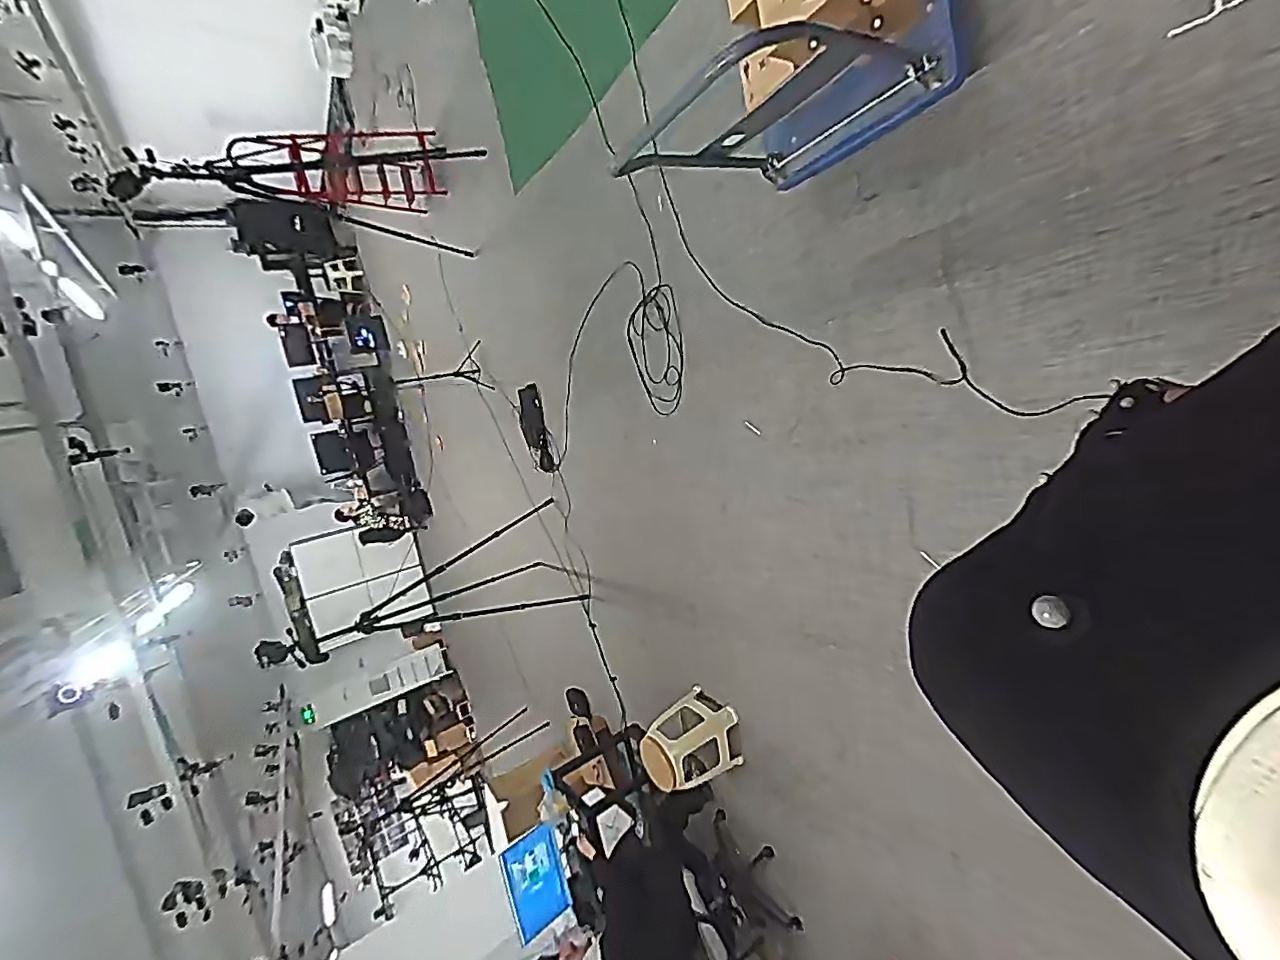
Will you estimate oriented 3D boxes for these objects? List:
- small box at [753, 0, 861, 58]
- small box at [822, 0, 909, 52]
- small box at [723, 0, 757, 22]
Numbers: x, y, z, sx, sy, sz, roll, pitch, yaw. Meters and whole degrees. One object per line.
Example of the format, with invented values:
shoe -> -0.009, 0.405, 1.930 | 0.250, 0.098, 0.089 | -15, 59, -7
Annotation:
small box -> 0.379, -1.107, 1.225 | 0.179, 0.176, 0.168 | -1, 103, 56
small box -> 0.530, -1.150, 1.301 | 0.168, 0.176, 0.179 | 37, 134, 39
small box -> 0.337, -1.386, 1.460 | 0.179, 0.176, 0.168 | 4, 108, 55
